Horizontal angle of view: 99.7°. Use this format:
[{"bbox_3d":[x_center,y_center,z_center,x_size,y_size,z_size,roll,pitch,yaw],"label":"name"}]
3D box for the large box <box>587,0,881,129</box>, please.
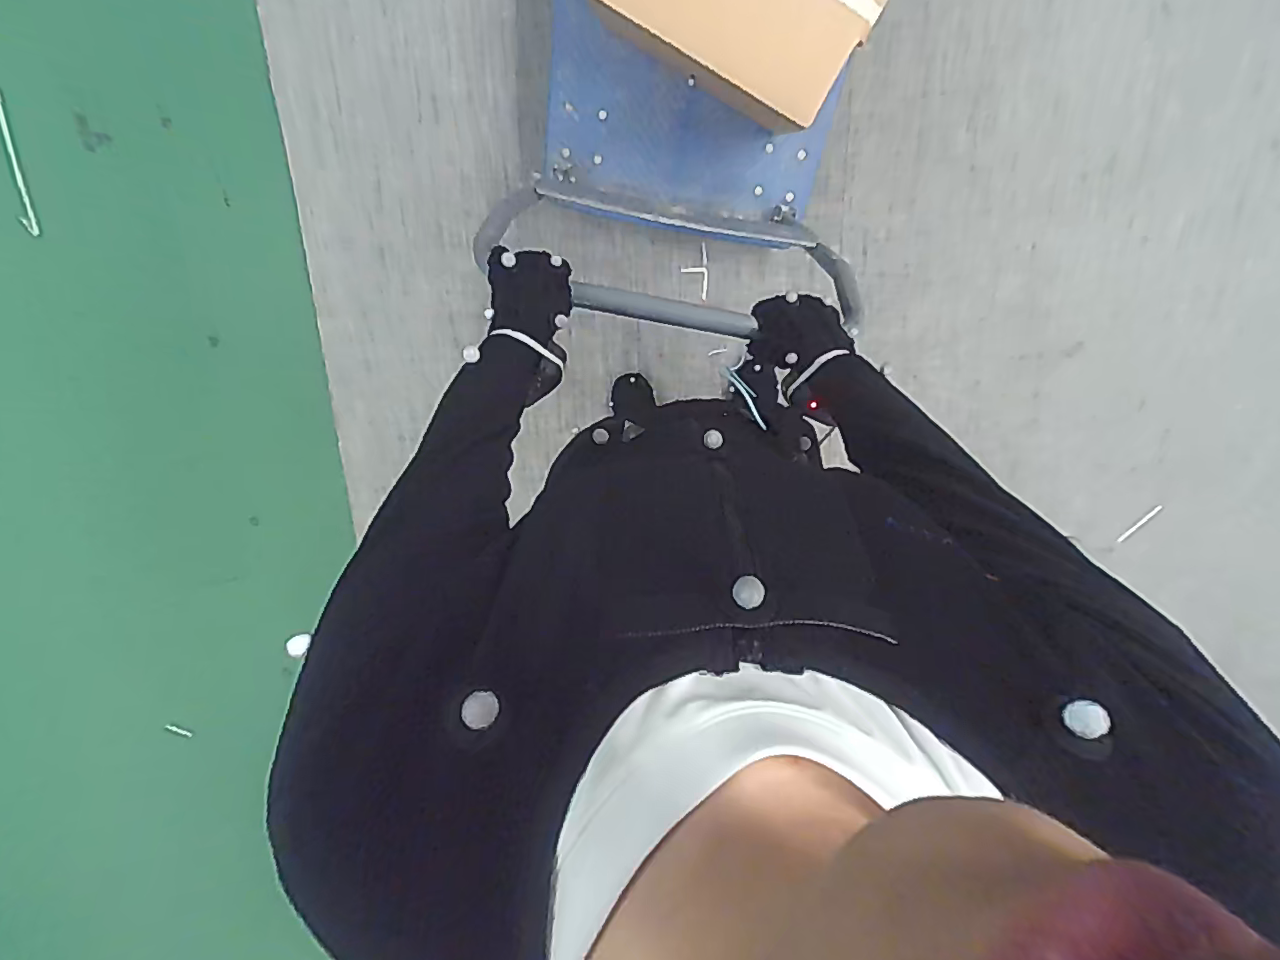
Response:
[{"bbox_3d":[0.171,-0.825,0.874,0.408,0.320,0.320,25,120,-9],"label":"large box"}]
